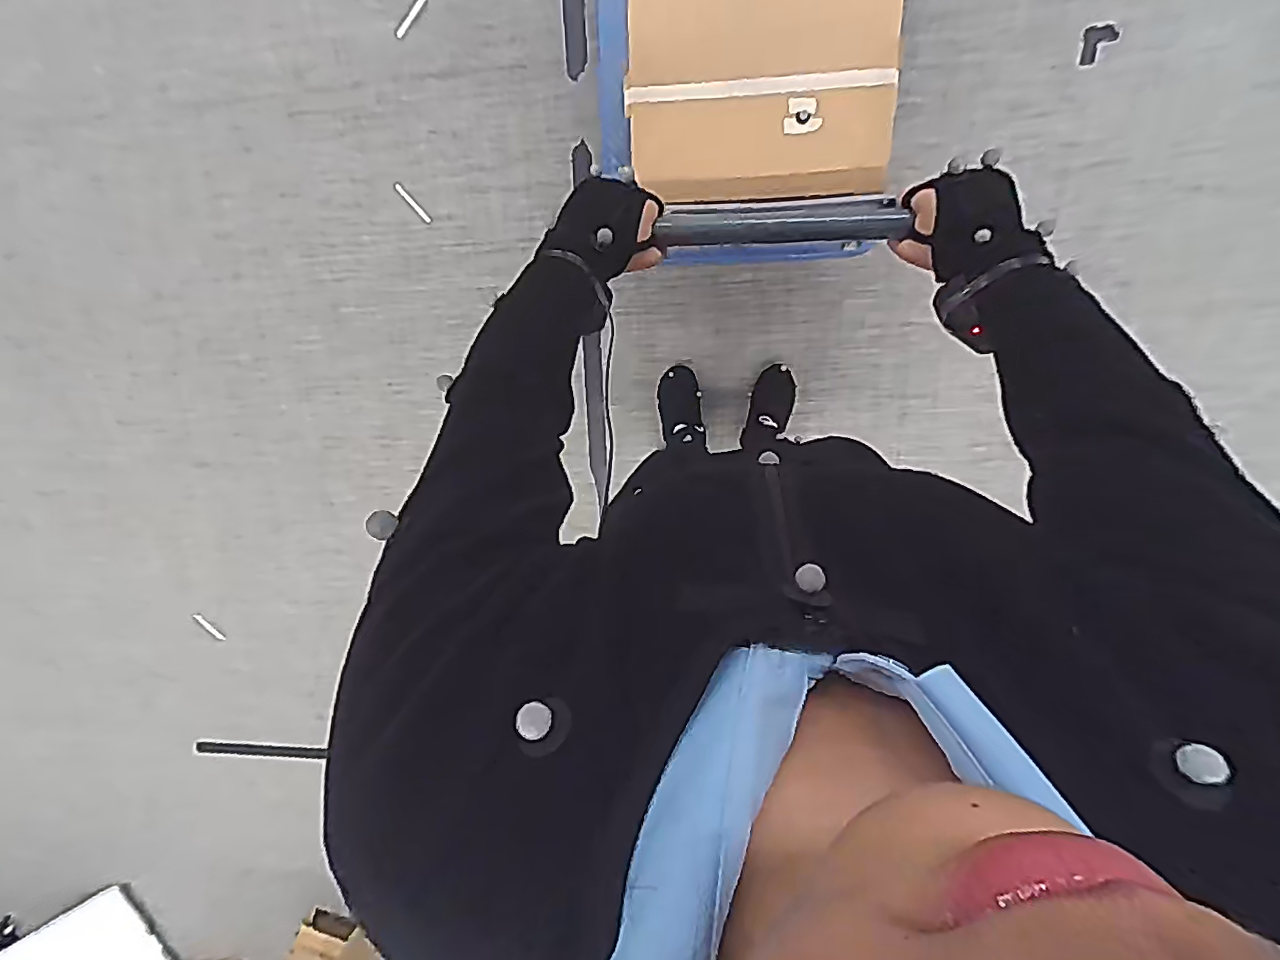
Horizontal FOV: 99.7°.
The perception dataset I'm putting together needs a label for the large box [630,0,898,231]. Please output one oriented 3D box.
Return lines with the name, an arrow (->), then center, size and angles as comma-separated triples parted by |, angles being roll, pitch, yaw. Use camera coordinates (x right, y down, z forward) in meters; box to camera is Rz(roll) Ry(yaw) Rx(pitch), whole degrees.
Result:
large box -> 0.201, -0.654, 0.987 | 0.408, 0.320, 0.320 | 0, 108, 6
